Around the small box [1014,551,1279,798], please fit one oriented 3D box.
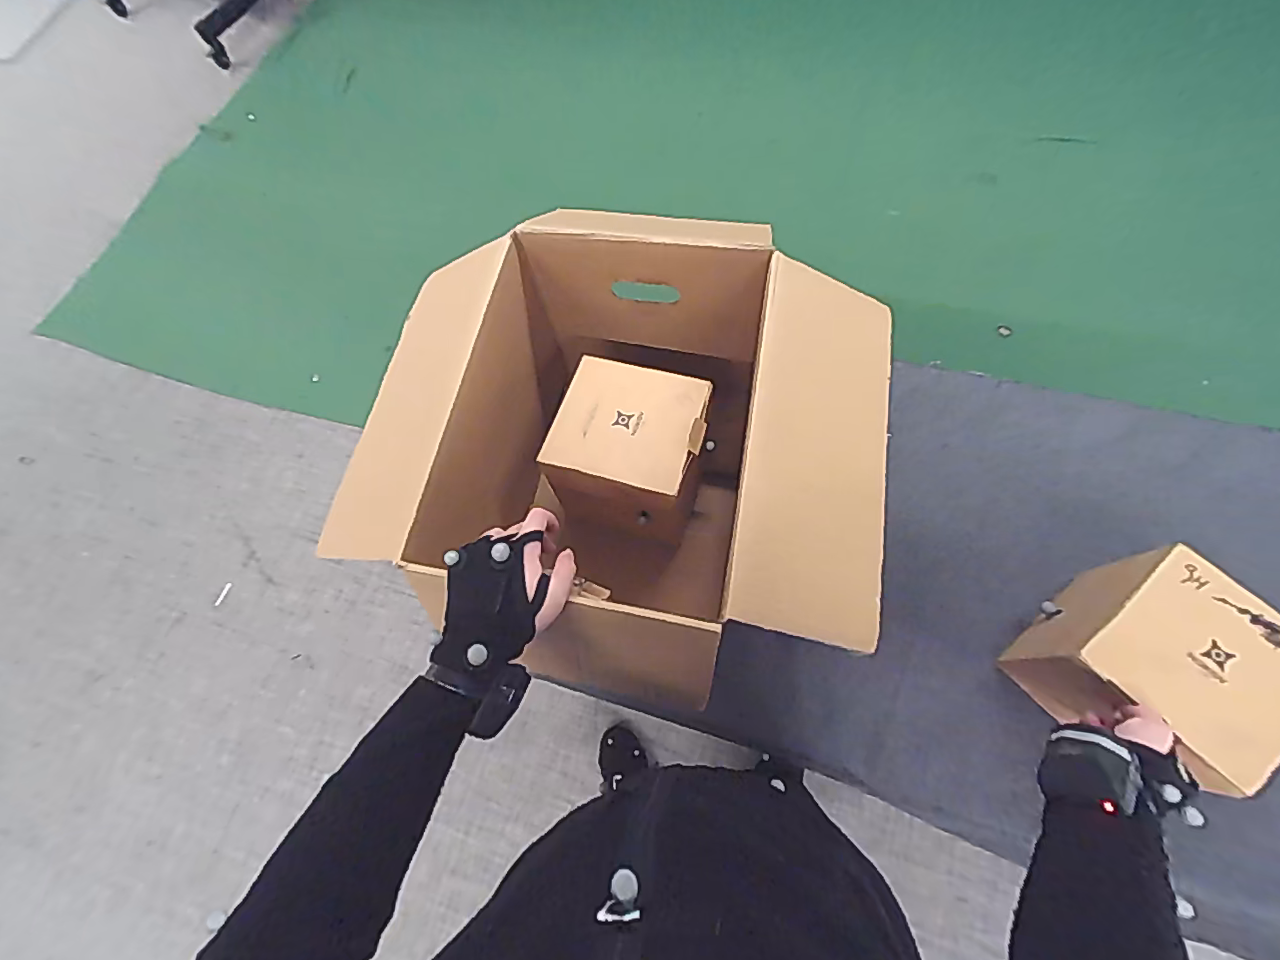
[{"bbox_3d":[0.566,0.212,0.603,0.179,0.176,0.168,-40,69,-9],"label":"small box"}]
